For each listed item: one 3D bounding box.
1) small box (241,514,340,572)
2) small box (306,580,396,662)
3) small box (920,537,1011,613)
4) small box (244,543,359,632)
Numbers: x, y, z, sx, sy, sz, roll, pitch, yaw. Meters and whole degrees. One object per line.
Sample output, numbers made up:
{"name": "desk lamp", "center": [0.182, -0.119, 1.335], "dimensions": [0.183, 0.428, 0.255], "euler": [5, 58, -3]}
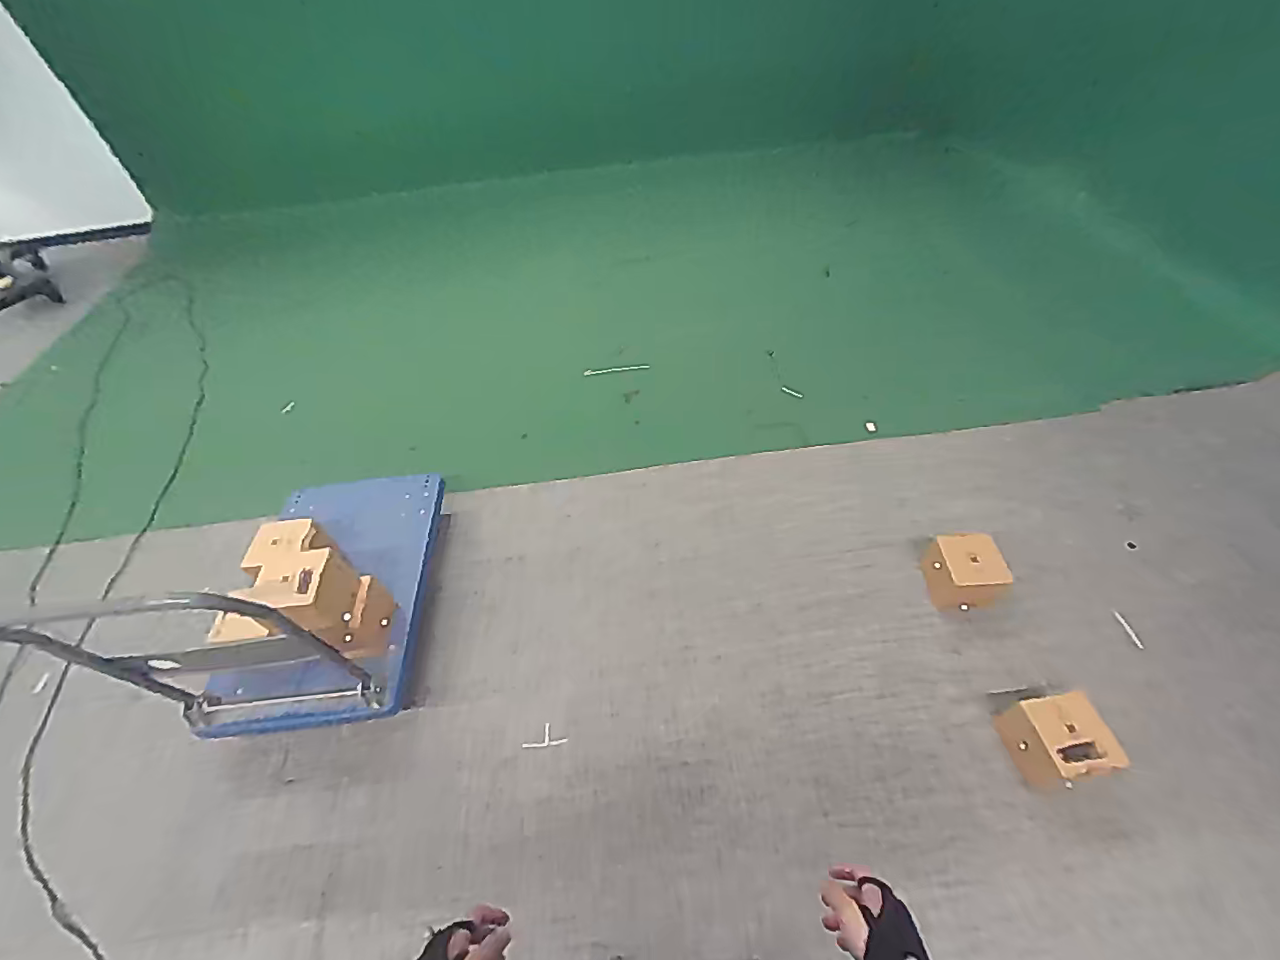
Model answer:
{"name": "small box", "center": [-1.099, 0.227, 1.715], "dimensions": [0.179, 0.176, 0.168], "euler": [-3, 50, 3]}
{"name": "small box", "center": [-0.843, 0.395, 1.559], "dimensions": [0.168, 0.176, 0.179], "euler": [19, 55, 18]}
{"name": "small box", "center": [0.999, 0.296, 1.678], "dimensions": [0.168, 0.176, 0.179], "euler": [-2, 50, 5]}
{"name": "small box", "center": [-0.879, 0.286, 1.427], "dimensions": [0.179, 0.176, 0.168], "euler": [-7, 49, 1]}
